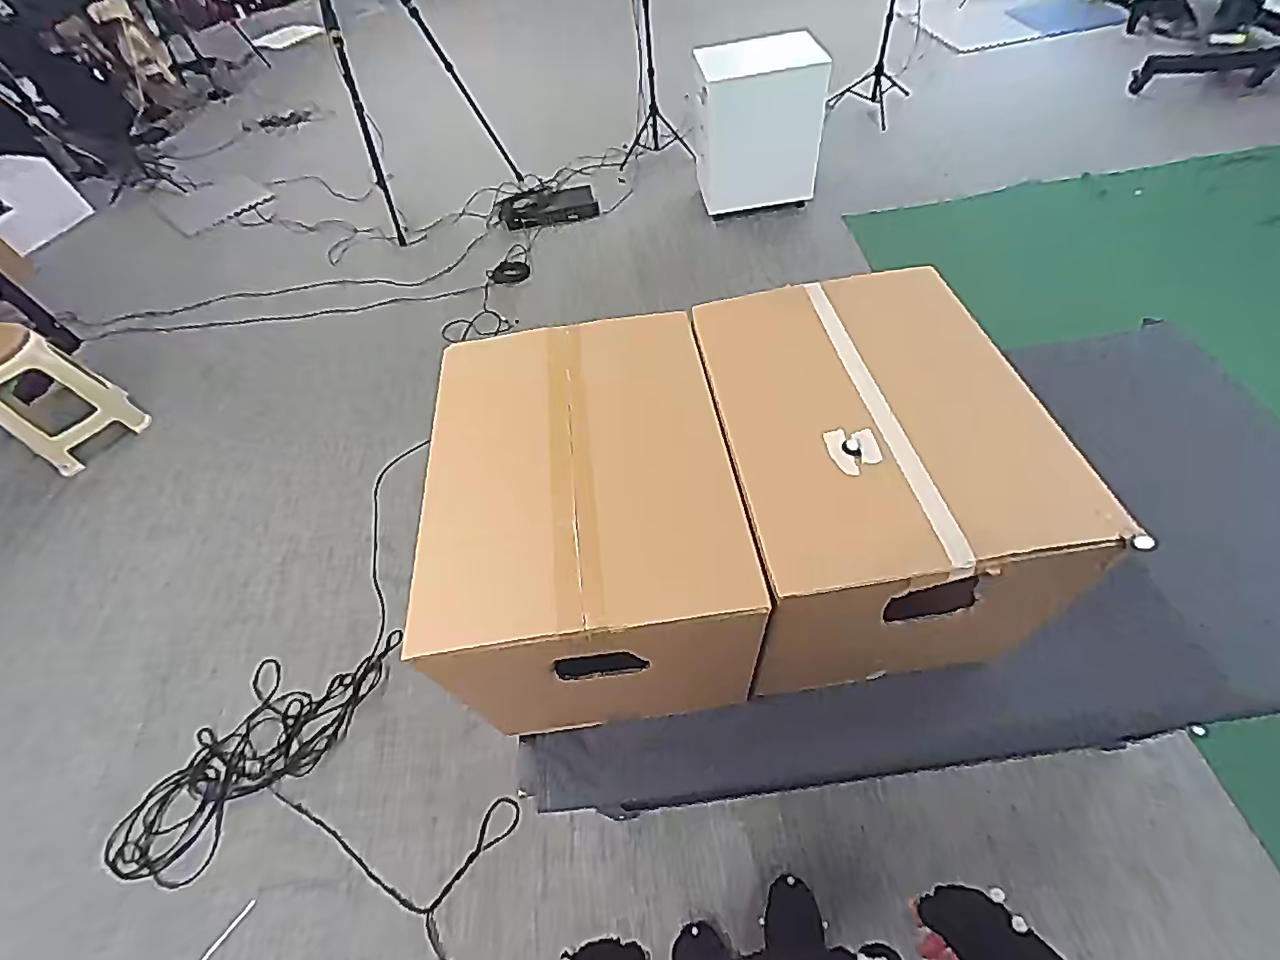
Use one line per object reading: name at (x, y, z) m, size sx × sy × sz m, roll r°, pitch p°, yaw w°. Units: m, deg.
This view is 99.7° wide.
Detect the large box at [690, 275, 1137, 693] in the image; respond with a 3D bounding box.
large box at (0.257, 0.007, 0.690) m, size 0.320 × 0.320 × 0.408 m, roll -10°, pitch 54°, yaw 1°
